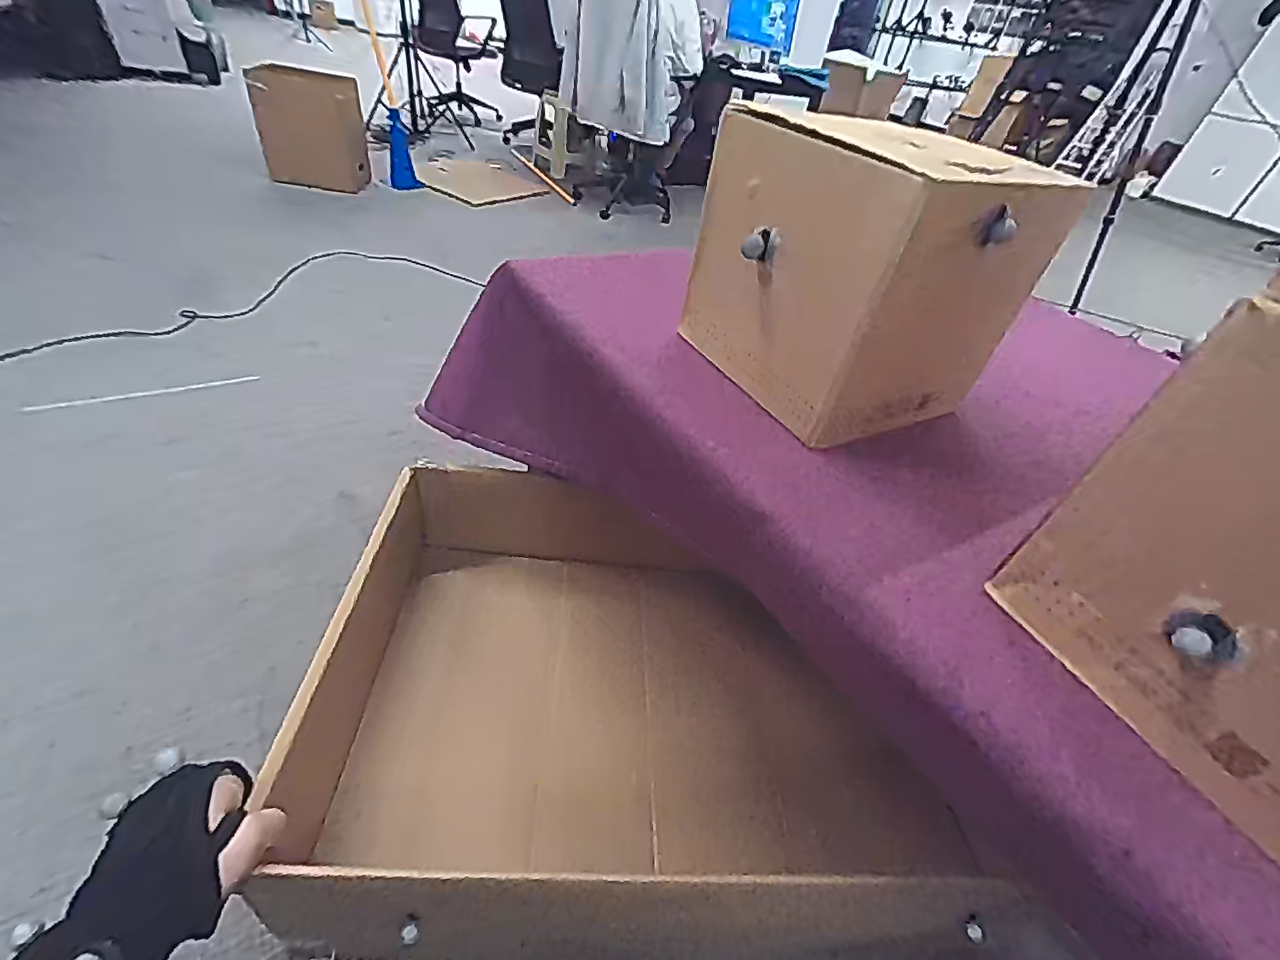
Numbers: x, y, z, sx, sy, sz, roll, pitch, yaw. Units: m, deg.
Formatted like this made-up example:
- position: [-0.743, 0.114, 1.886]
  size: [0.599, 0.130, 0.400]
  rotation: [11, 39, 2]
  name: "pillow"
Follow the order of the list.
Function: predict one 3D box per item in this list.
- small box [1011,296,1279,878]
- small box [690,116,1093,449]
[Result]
- position: [0.307, 0.037, 0.220]
  size: [0.179, 0.176, 0.168]
  rotation: [-12, 45, -23]
  name: "small box"
- position: [0.156, -0.148, 0.398]
  size: [0.168, 0.176, 0.179]
  rotation: [-16, 46, -26]
  name: "small box"
